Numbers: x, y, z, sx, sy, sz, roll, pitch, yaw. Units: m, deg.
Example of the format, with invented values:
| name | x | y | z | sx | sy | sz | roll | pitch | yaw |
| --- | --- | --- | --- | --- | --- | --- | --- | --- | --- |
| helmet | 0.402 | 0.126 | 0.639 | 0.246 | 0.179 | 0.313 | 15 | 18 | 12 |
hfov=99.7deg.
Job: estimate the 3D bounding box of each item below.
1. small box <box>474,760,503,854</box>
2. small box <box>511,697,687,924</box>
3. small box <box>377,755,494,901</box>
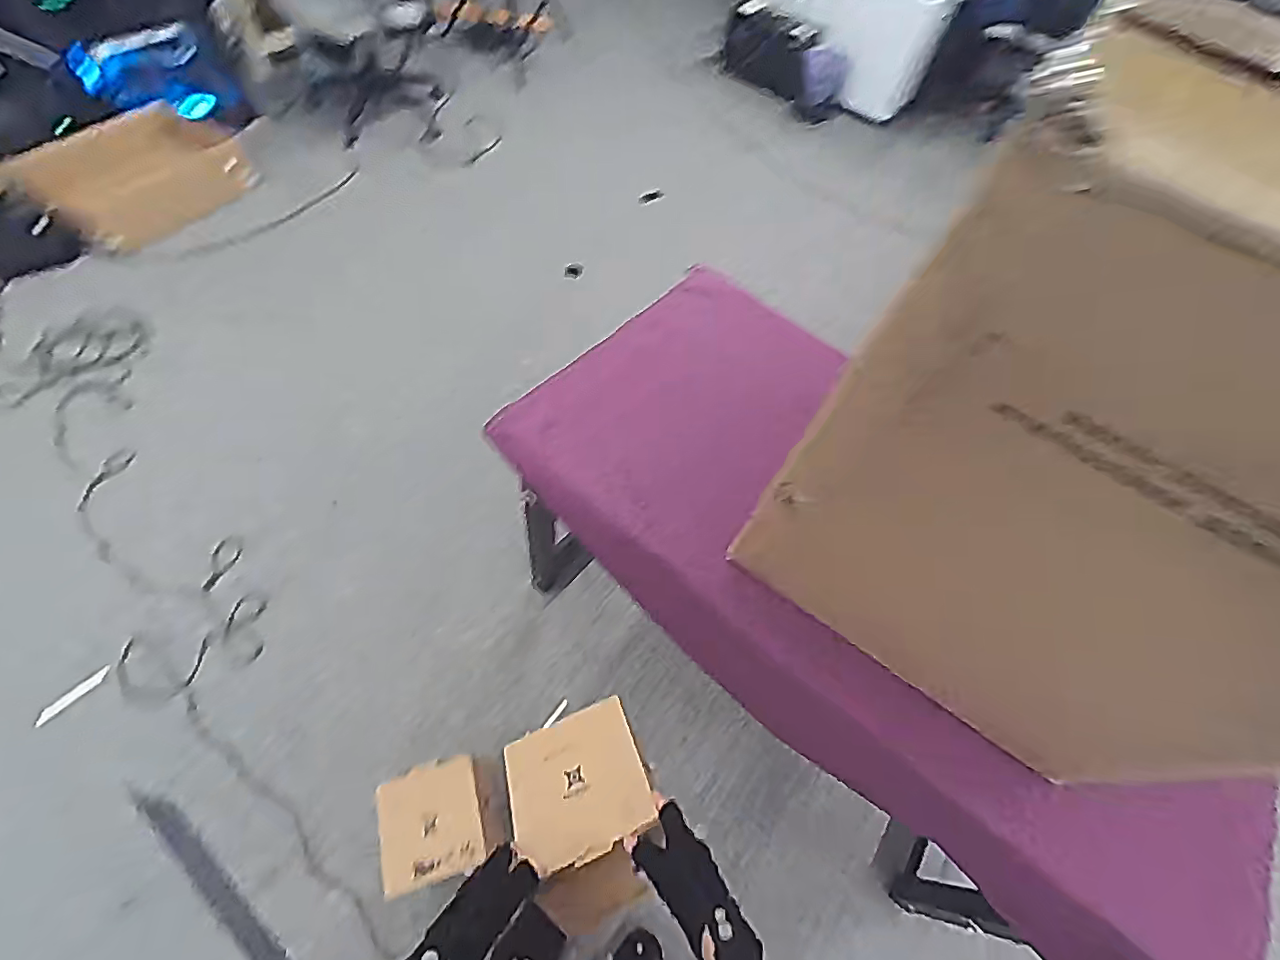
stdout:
| name | x | y | z | sx | sy | sz | roll | pitch | yaw |
| --- | --- | --- | --- | --- | --- | --- | --- | --- | --- |
| small box | -0.394 | 0.717 | 1.139 | 0.168 | 0.176 | 0.179 | -15 | 62 | -17 |
| small box | -0.052 | 0.425 | 0.693 | 0.168 | 0.176 | 0.179 | -20 | 33 | -8 |
| small box | -0.372 | 0.636 | 0.998 | 0.168 | 0.176 | 0.179 | -13 | 61 | -16 |
